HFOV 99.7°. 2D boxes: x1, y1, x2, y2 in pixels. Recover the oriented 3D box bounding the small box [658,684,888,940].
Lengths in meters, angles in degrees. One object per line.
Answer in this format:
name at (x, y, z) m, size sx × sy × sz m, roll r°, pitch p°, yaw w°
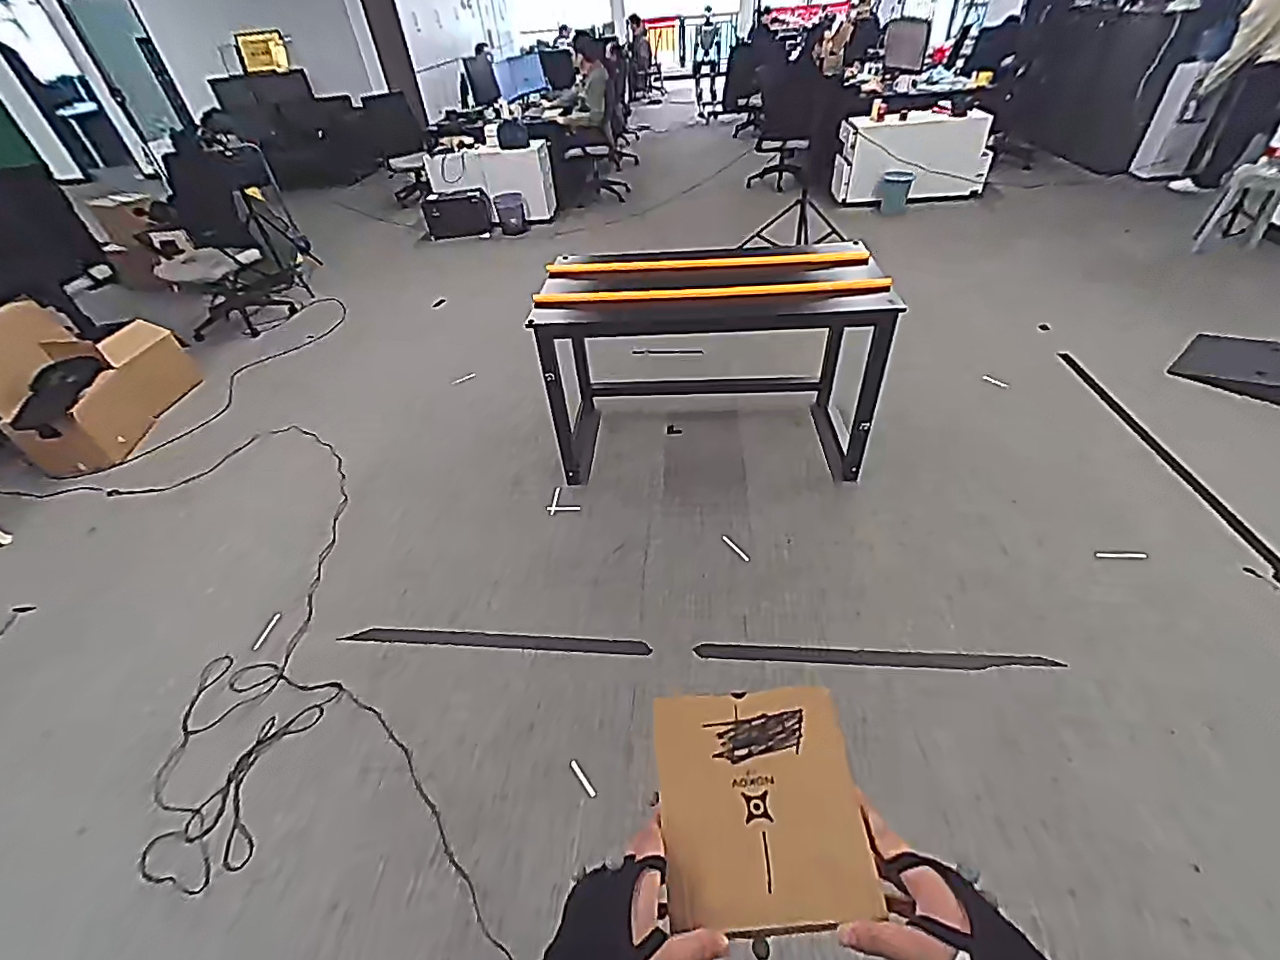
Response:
small box at (0.107, 0.319, 0.519) m, size 0.168 × 0.176 × 0.179 m, roll -6°, pitch 48°, yaw 1°
